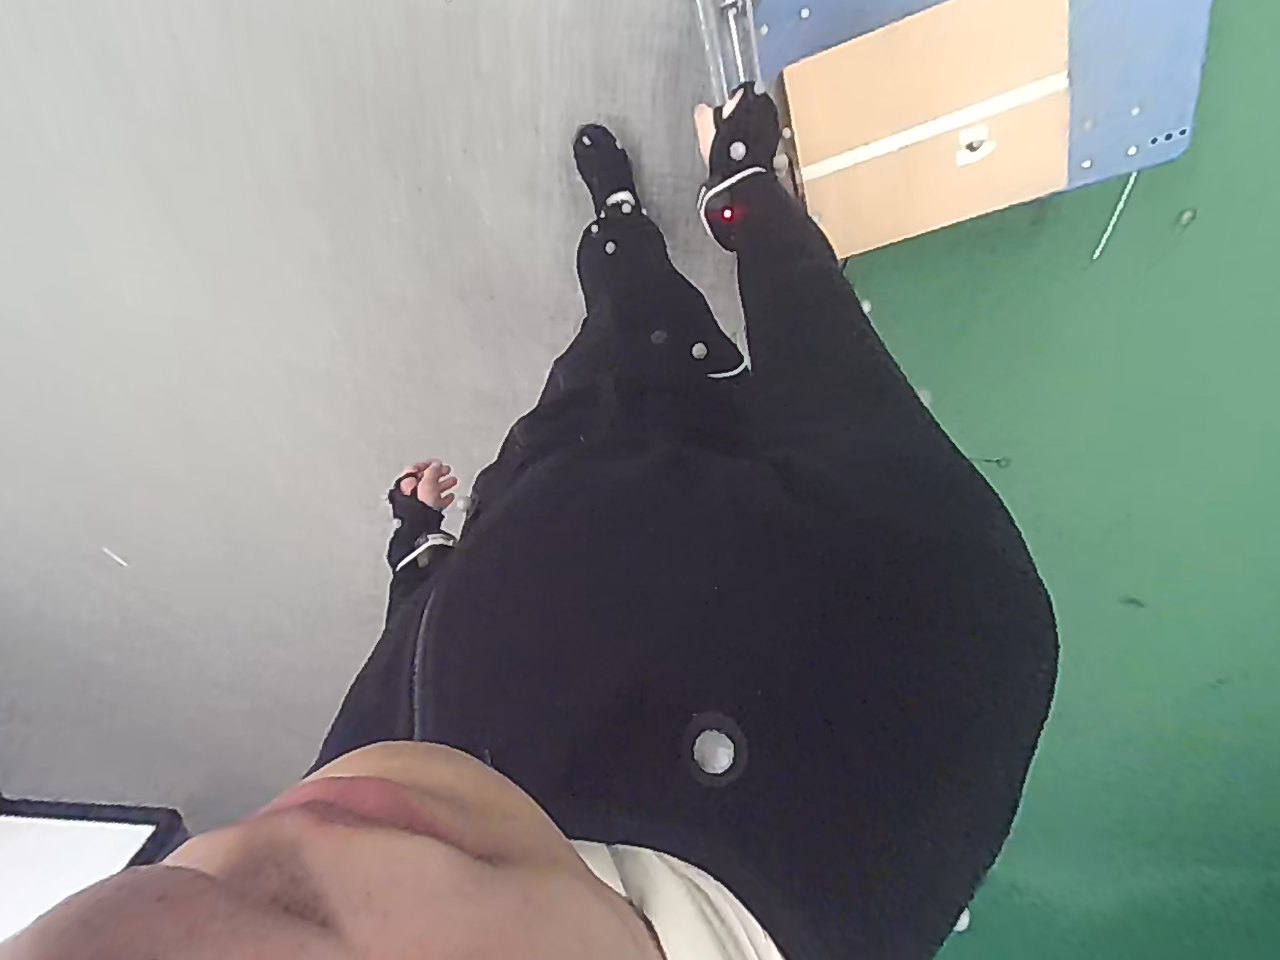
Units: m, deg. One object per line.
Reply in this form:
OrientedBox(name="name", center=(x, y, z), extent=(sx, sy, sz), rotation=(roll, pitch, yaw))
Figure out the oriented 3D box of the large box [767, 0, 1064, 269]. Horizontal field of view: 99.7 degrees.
OrientedBox(name="large box", center=(0.479, -0.625, 1.012), extent=(0.408, 0.320, 0.320), rotation=(-13, 116, 13))
